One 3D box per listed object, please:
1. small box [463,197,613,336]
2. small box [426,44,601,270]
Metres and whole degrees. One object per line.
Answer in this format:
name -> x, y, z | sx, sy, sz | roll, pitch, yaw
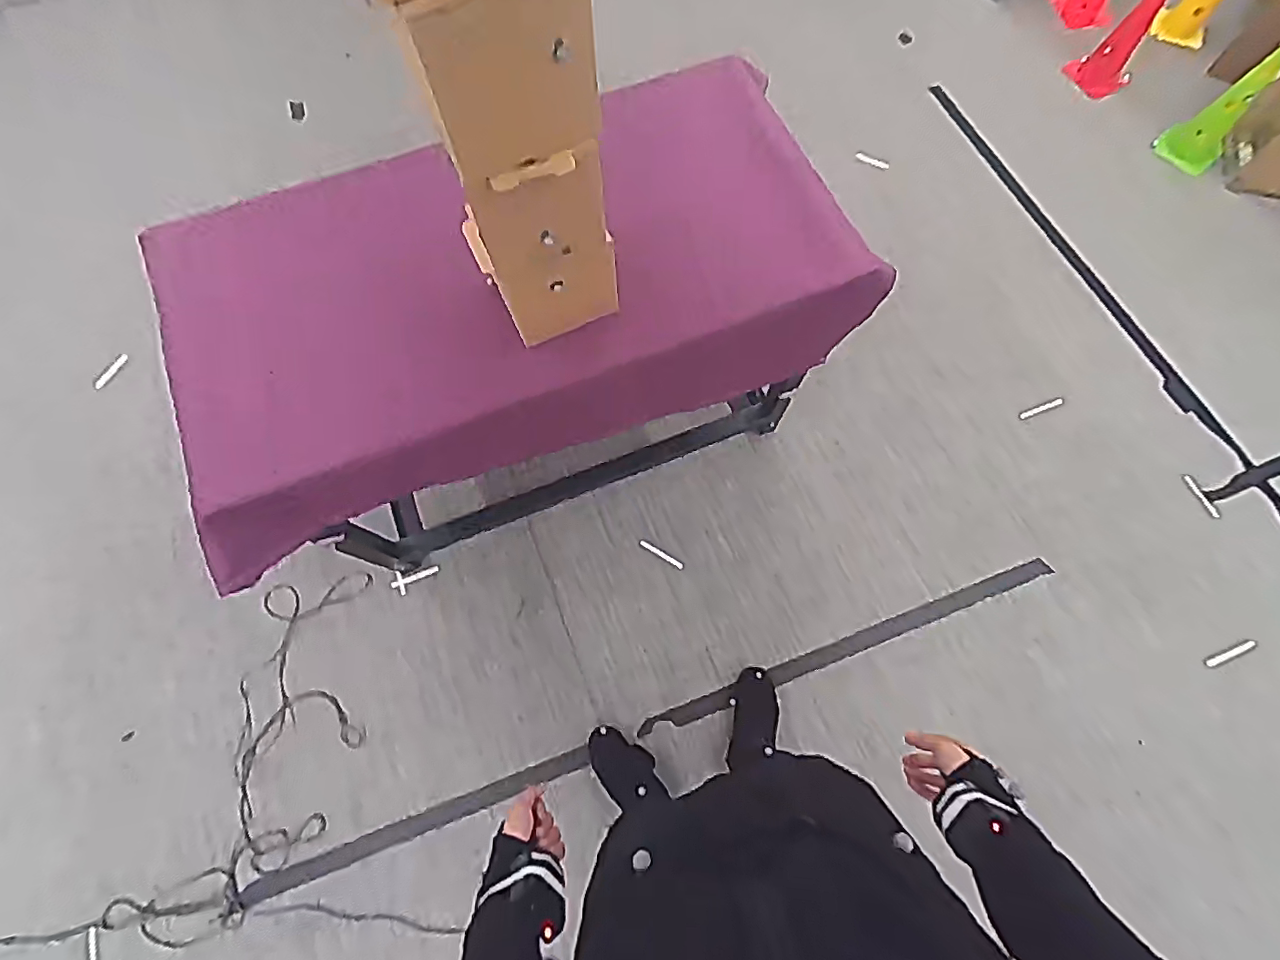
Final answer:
small box -> -0.155, -0.363, 0.874 | 0.179, 0.176, 0.168 | -25, 73, -8
small box -> -0.158, -0.419, 0.719 | 0.168, 0.176, 0.179 | -20, 72, -5
